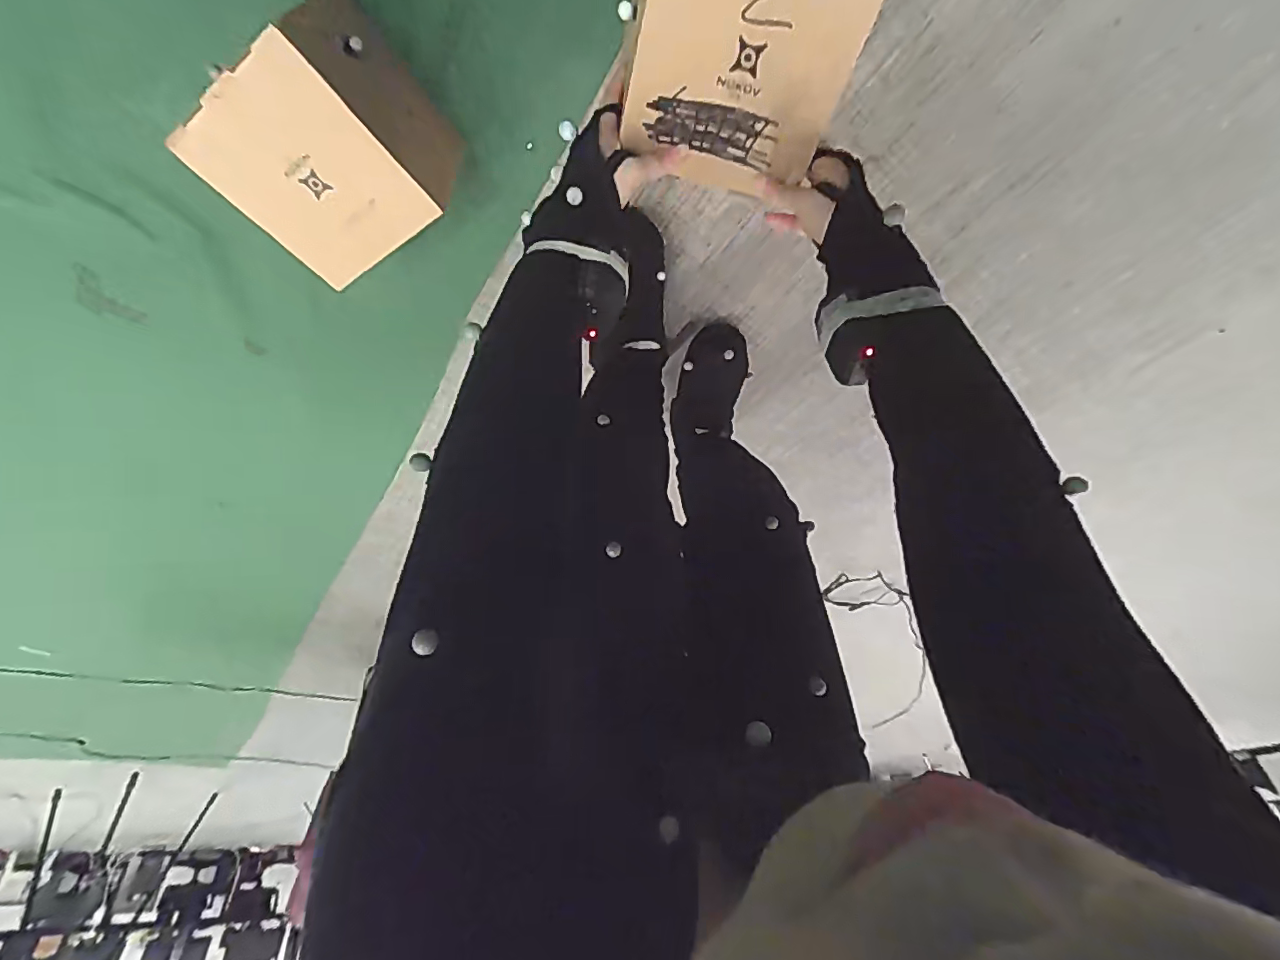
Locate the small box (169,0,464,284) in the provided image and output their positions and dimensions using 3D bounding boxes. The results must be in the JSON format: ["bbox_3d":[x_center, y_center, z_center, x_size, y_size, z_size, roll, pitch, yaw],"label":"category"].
[{"bbox_3d":[-0.310,-0.349,0.557,0.168,0.176,0.179,-22,139,22],"label":"small box"}]
